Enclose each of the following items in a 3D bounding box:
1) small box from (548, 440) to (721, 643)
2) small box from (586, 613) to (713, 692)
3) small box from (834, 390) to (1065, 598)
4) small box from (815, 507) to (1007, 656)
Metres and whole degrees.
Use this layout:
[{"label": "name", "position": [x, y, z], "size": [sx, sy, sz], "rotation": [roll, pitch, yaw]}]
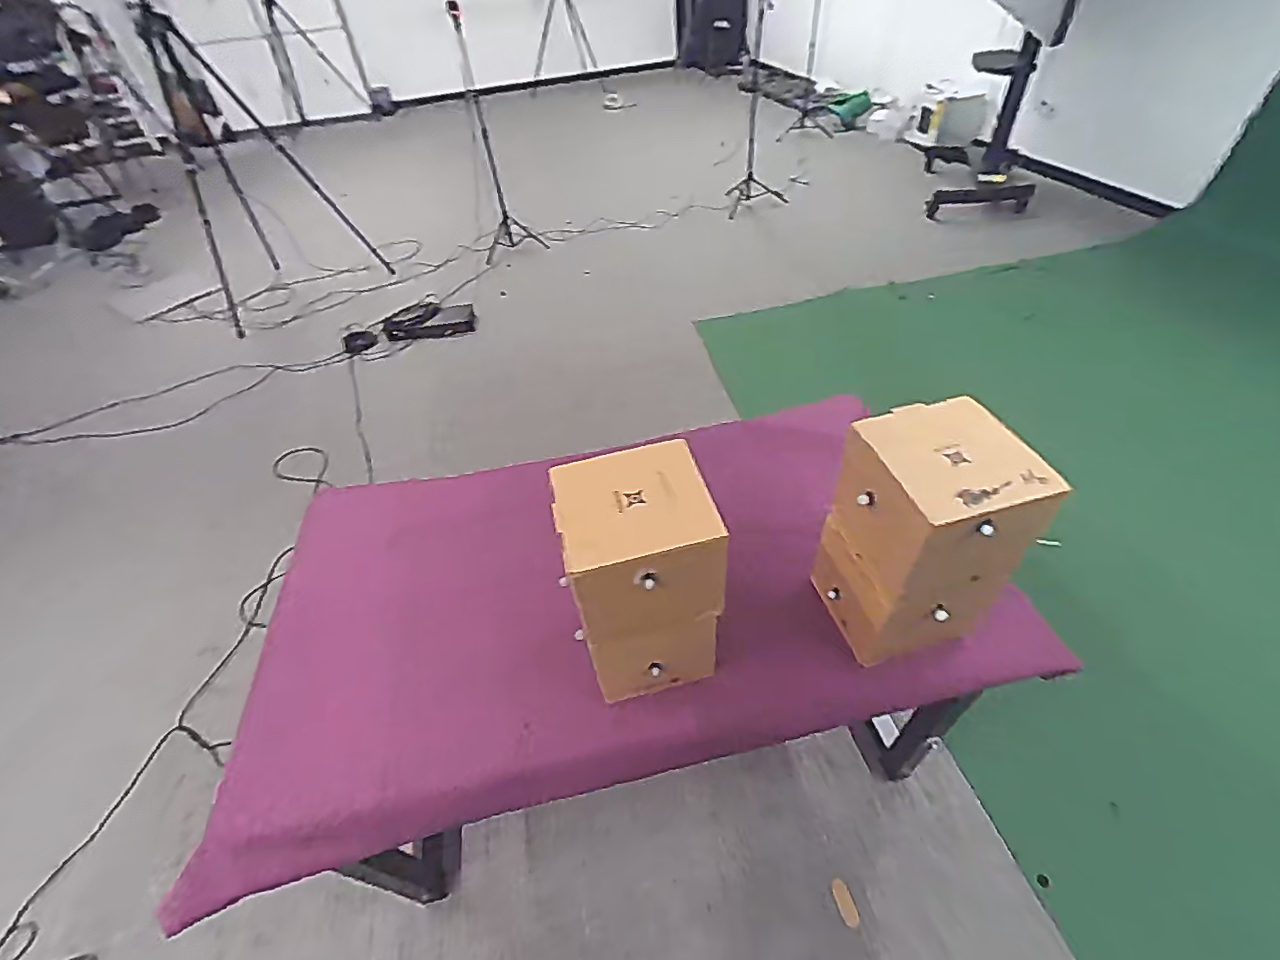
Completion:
[{"label": "small box", "position": [-0.004, 0.081, 0.679], "size": [0.179, 0.176, 0.168], "rotation": [-14, 46, -5]}, {"label": "small box", "position": [0.007, 0.192, 0.798], "size": [0.168, 0.176, 0.179], "rotation": [-13, 45, -5]}, {"label": "small box", "position": [0.366, 0.018, 0.684], "size": [0.168, 0.176, 0.179], "rotation": [-16, 46, -4]}, {"label": "small box", "position": [0.382, 0.133, 0.801], "size": [0.179, 0.176, 0.168], "rotation": [-16, 47, -5]}]
